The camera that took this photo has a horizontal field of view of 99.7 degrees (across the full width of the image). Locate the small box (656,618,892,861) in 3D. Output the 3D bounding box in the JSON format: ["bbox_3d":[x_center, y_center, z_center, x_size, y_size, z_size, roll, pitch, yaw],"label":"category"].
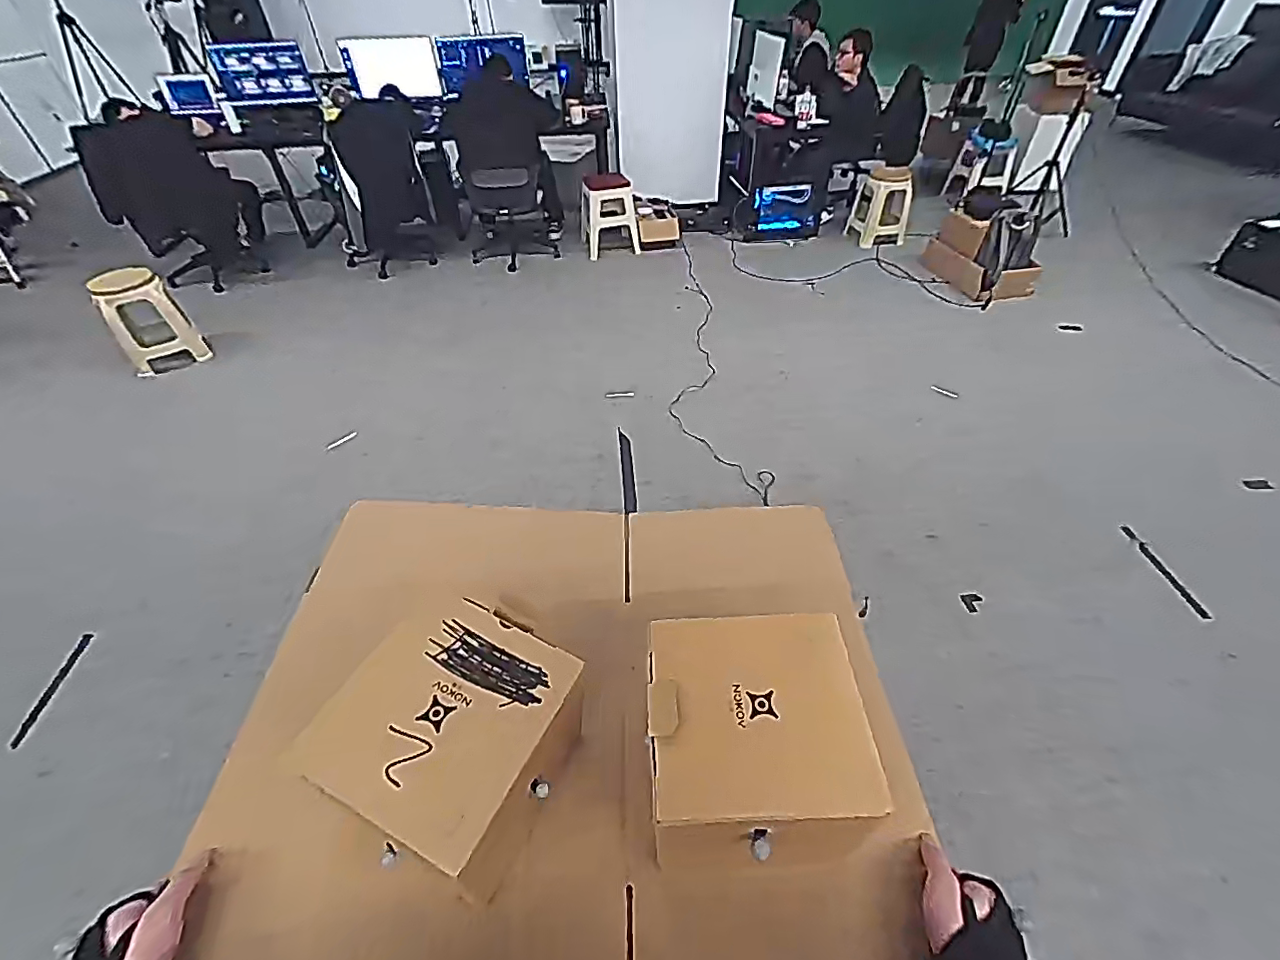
[{"bbox_3d":[0.106,0.250,0.518,0.179,0.176,0.168,-4,45,2],"label":"small box"}]
